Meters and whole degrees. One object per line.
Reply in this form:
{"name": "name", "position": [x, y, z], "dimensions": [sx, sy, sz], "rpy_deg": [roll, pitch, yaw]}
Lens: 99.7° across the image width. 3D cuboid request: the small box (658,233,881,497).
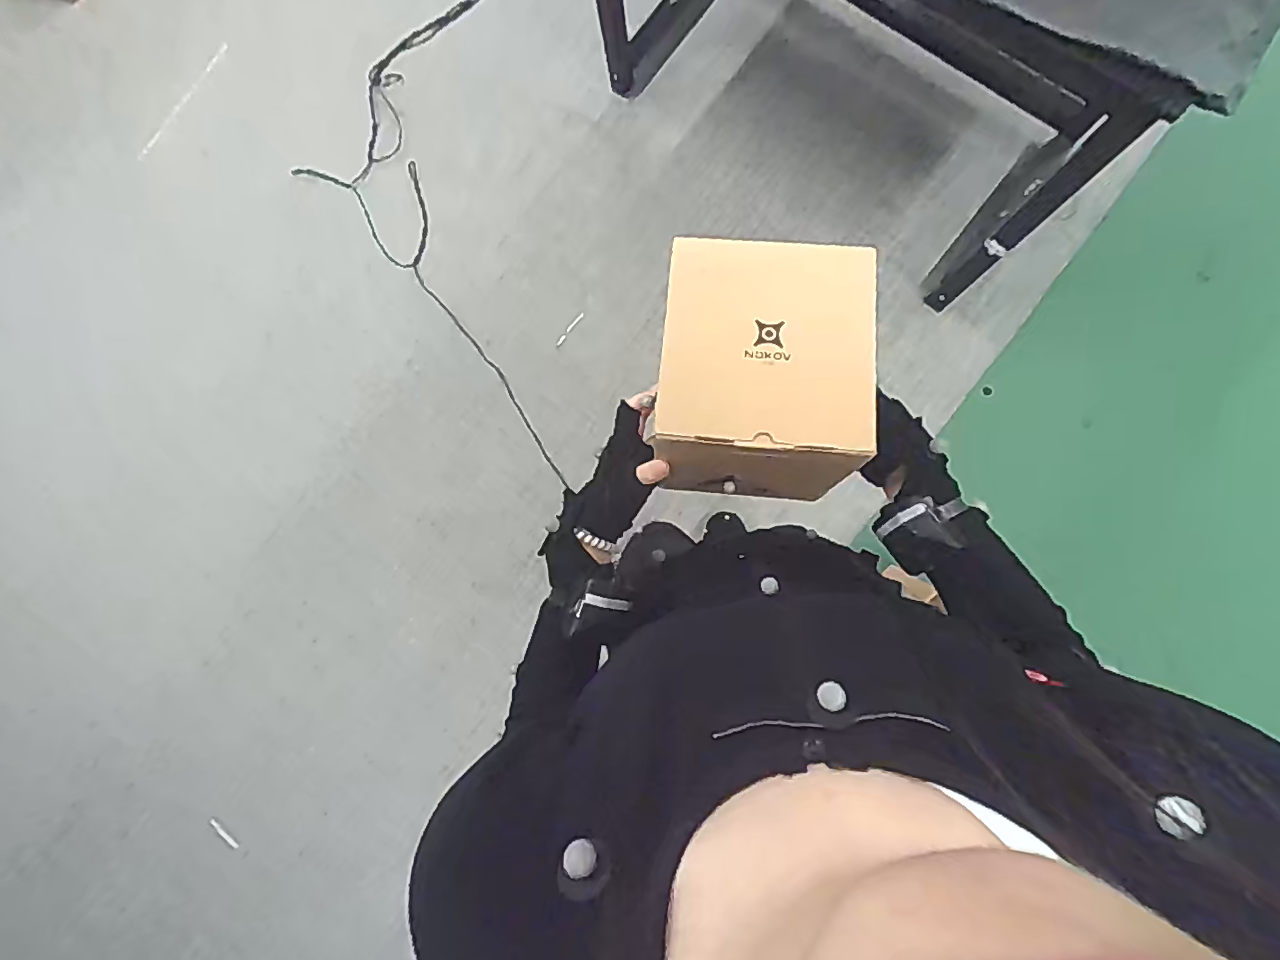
{"name": "small box", "position": [0.105, -0.092, 0.495], "dimensions": [0.168, 0.176, 0.179], "rpy_deg": [5, 77, 3]}
